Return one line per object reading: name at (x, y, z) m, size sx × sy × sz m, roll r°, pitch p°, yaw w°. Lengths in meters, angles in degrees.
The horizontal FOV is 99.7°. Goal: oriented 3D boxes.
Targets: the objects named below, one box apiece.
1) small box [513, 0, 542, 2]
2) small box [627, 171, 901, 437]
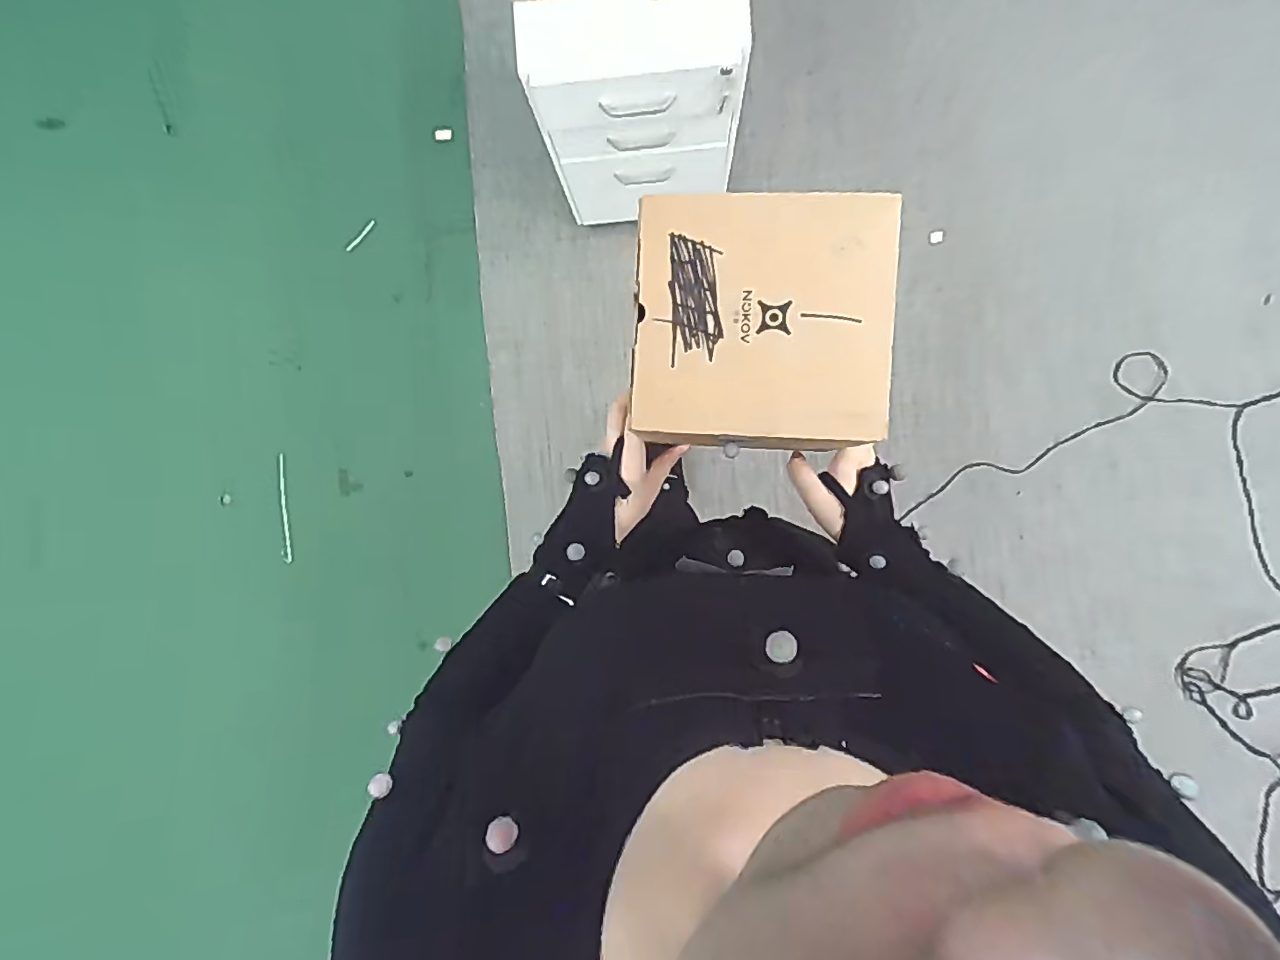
small box at (-0.147, -0.894, 0.837) m, size 0.179 × 0.176 × 0.168 m, roll -5°, pitch 90°, yaw 3°
small box at (0.090, -0.126, 0.446) m, size 0.179 × 0.176 × 0.168 m, roll 3°, pitch 91°, yaw 5°
